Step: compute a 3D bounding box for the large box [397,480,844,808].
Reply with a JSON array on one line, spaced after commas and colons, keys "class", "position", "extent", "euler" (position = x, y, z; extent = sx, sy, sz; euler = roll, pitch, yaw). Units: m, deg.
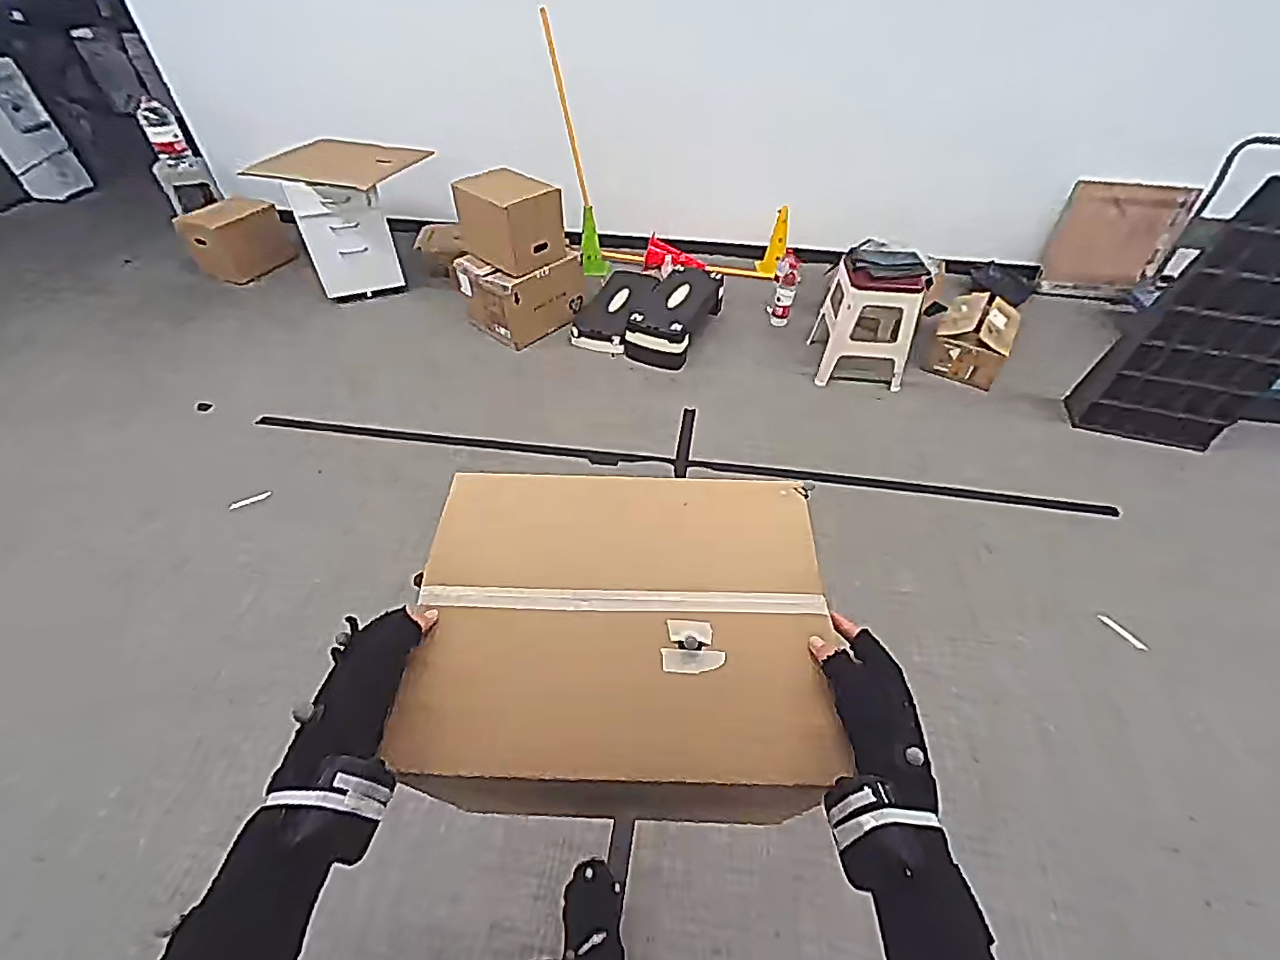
[{"class": "large box", "position": [-0.018, 0.215, 0.680], "extent": [0.408, 0.320, 0.320], "euler": [2, 54, 0]}]
